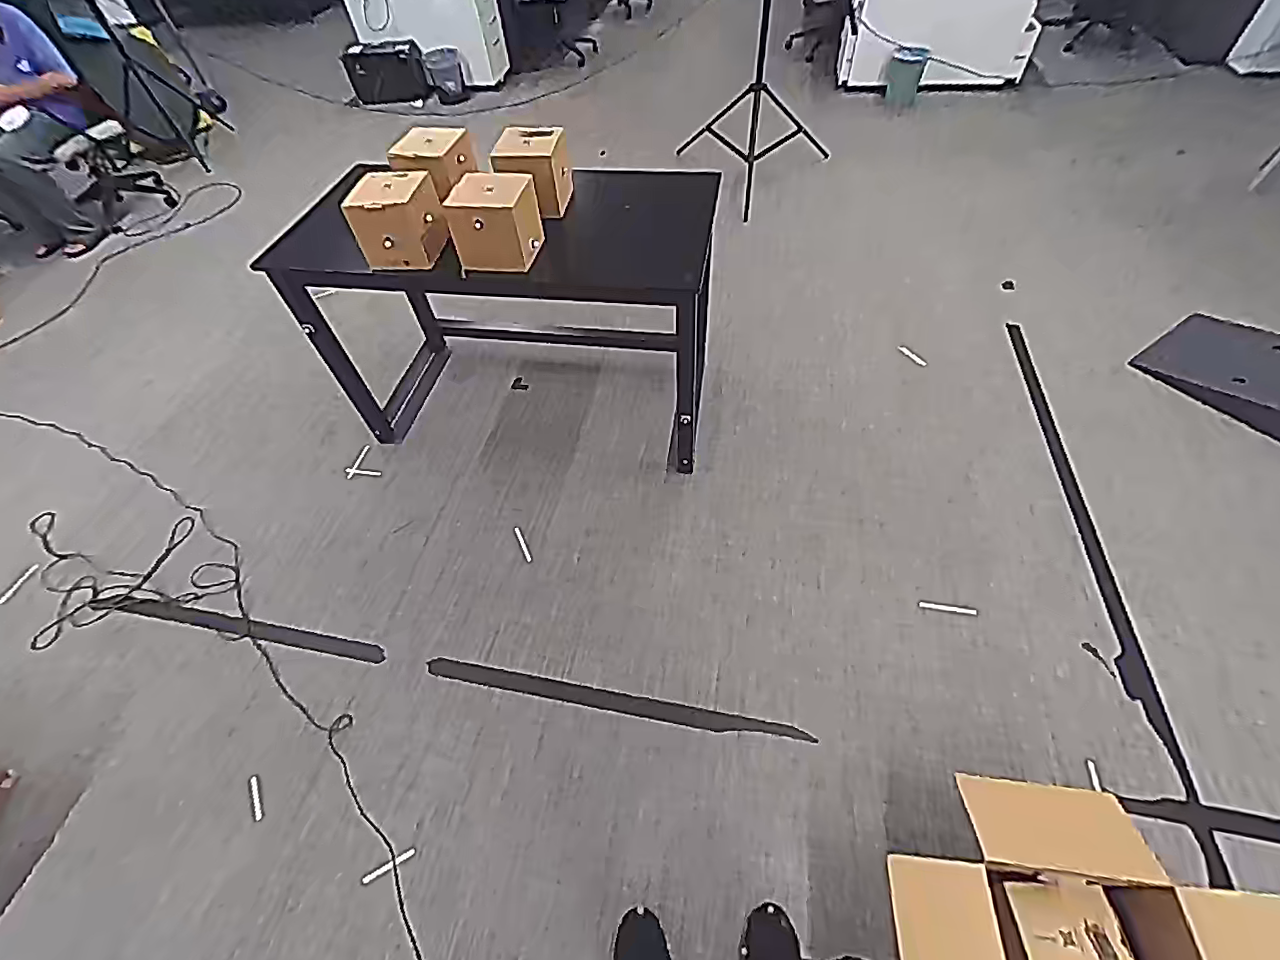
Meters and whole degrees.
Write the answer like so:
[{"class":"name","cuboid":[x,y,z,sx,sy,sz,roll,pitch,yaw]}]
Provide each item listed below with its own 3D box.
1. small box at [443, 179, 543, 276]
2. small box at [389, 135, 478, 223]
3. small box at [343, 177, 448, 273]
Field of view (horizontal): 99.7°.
[{"class":"small box","cuboid":[-0.359,-0.631,1.357,0.179,0.176,0.168,5,54,8]},{"class":"small box","cuboid":[-0.577,-0.863,1.551,0.168,0.176,0.179,7,54,9]},{"class":"small box","cuboid":[-0.614,-0.649,1.388,0.168,0.176,0.179,1,53,5]}]
